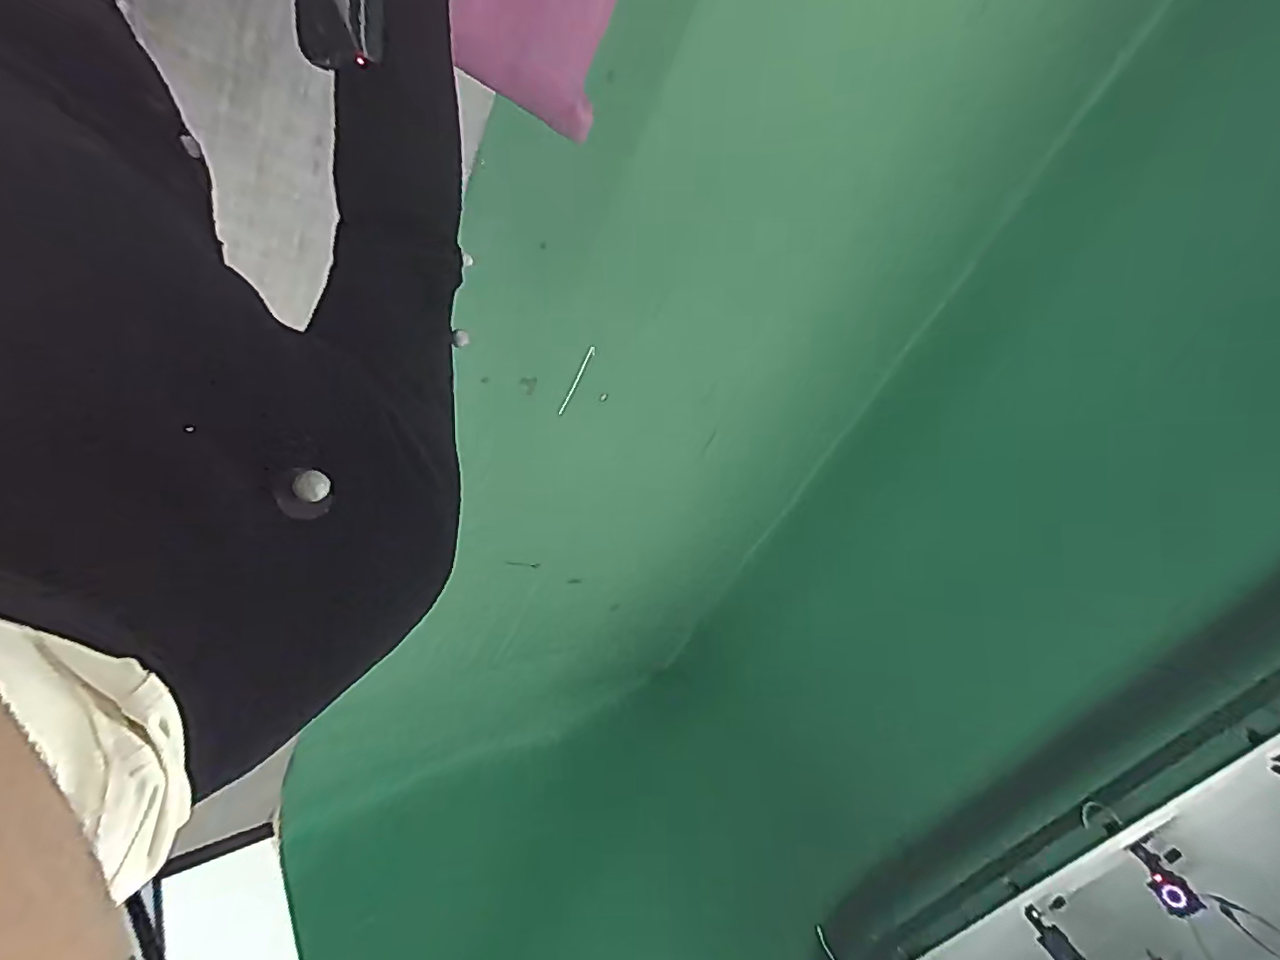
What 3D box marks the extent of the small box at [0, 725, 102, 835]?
[{"bbox_3d":[-1.536,0.765,1.399,0.179,0.176,0.168,10,121,-52],"label":"small box"}]
